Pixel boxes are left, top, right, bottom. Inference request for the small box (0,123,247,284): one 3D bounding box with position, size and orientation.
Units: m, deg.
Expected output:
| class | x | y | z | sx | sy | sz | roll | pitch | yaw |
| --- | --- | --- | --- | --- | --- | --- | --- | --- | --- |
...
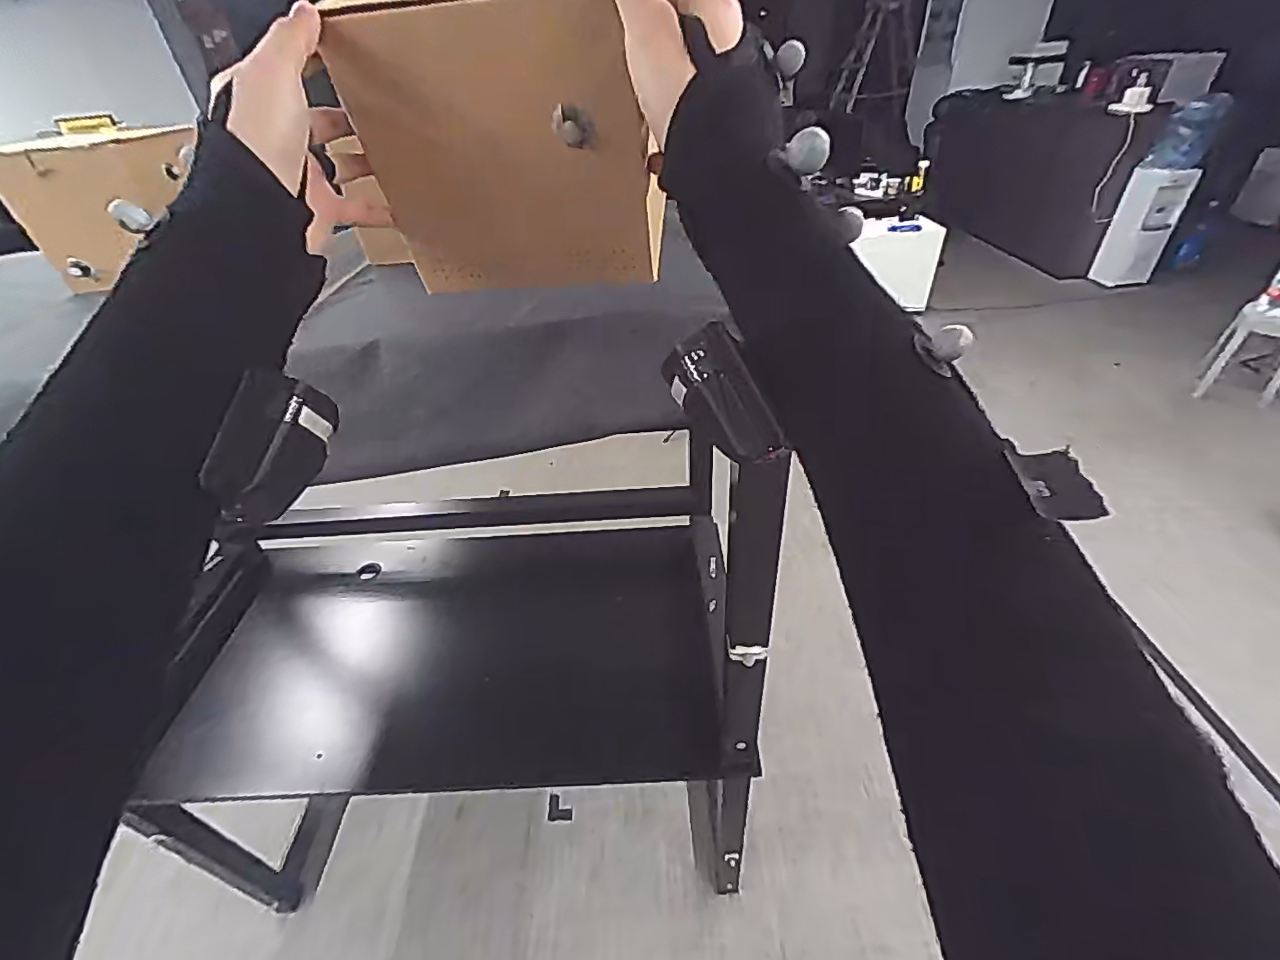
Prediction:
| class | x | y | z | sx | sy | sz | roll | pitch | yaw |
| --- | --- | --- | --- | --- | --- | --- | --- | --- | --- |
| small box | -0.697 | -0.378 | 0.749 | 0.168 | 0.176 | 0.179 | -6 | 38 | -2 |
